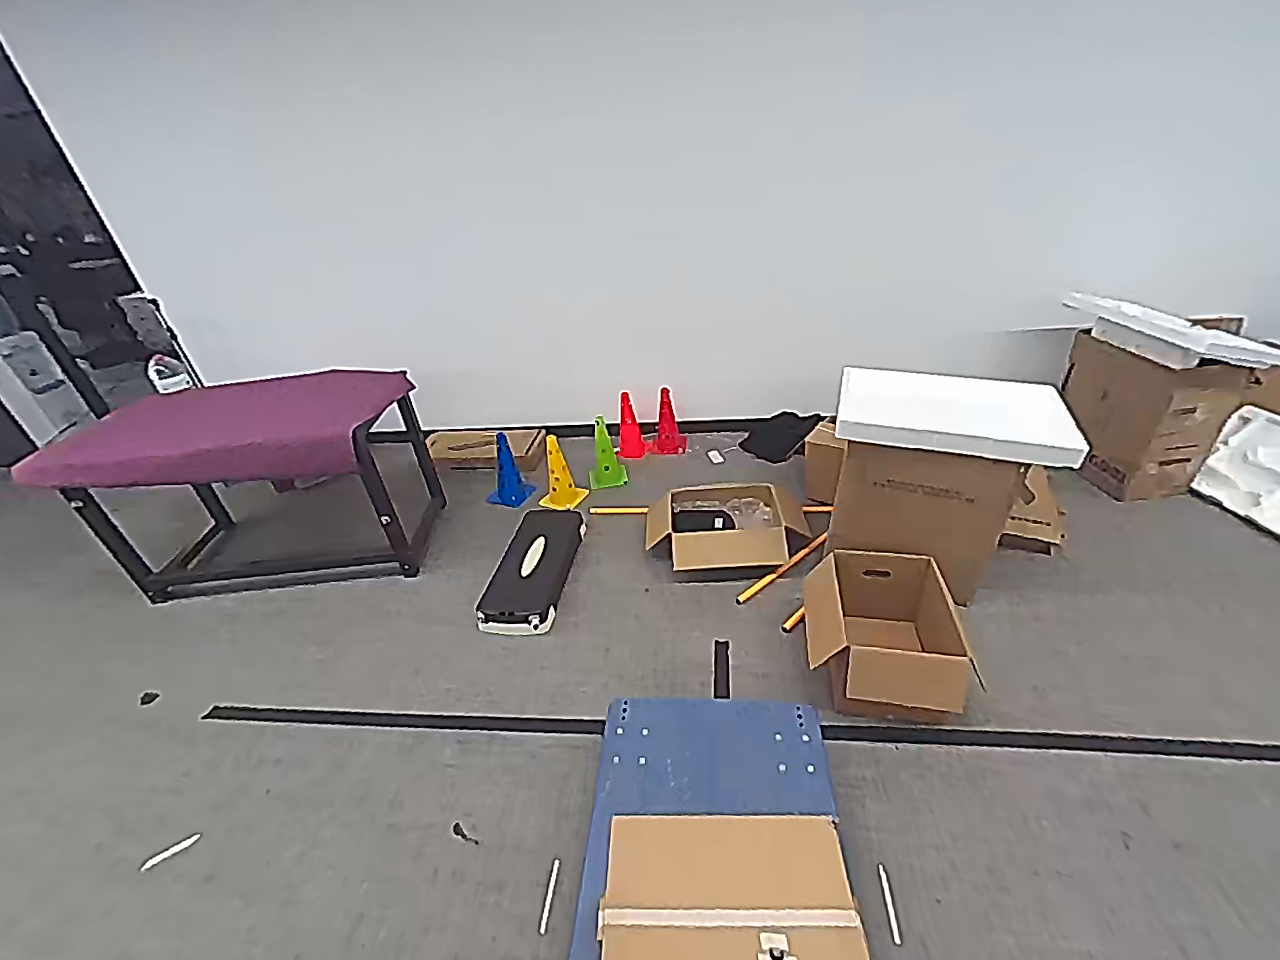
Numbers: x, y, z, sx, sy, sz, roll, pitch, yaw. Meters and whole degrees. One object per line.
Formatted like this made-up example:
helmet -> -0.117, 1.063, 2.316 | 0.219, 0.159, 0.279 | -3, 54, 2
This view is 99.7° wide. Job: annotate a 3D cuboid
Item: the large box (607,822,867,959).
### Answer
large box -> 0.154, 0.837, 0.938 | 0.408, 0.320, 0.320 | -2, 33, 3
